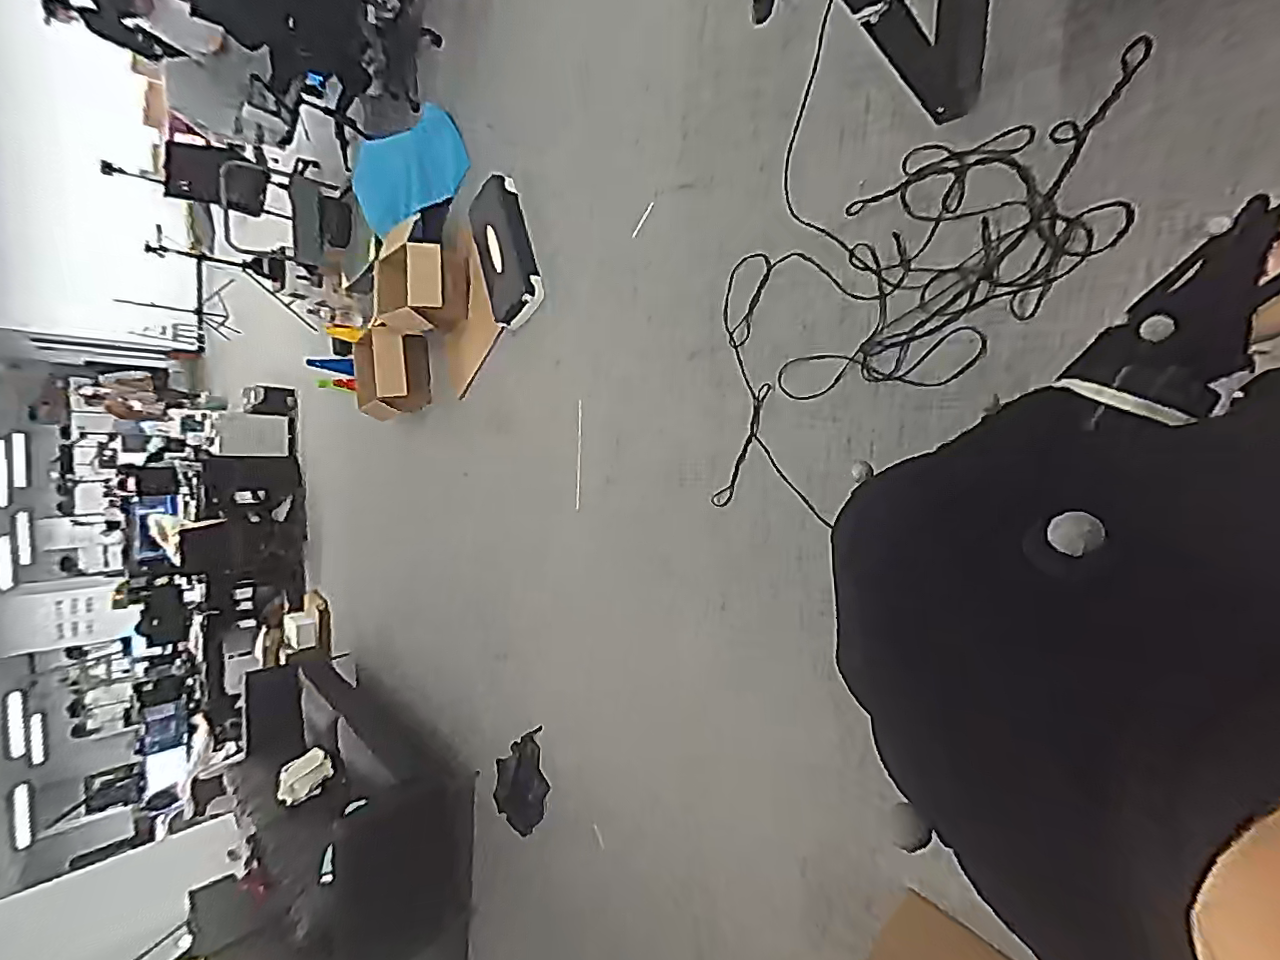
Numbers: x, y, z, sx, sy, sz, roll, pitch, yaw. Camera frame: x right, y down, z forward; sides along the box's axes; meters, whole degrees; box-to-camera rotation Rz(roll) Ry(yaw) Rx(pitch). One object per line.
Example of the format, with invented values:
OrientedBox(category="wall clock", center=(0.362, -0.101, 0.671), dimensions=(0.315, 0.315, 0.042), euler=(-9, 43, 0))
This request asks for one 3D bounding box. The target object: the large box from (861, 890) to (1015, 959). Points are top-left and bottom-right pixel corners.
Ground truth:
OrientedBox(category="large box", center=(0.690, 1.207, 1.134), dimensions=(0.408, 0.320, 0.320), euler=(16, 102, 45))
